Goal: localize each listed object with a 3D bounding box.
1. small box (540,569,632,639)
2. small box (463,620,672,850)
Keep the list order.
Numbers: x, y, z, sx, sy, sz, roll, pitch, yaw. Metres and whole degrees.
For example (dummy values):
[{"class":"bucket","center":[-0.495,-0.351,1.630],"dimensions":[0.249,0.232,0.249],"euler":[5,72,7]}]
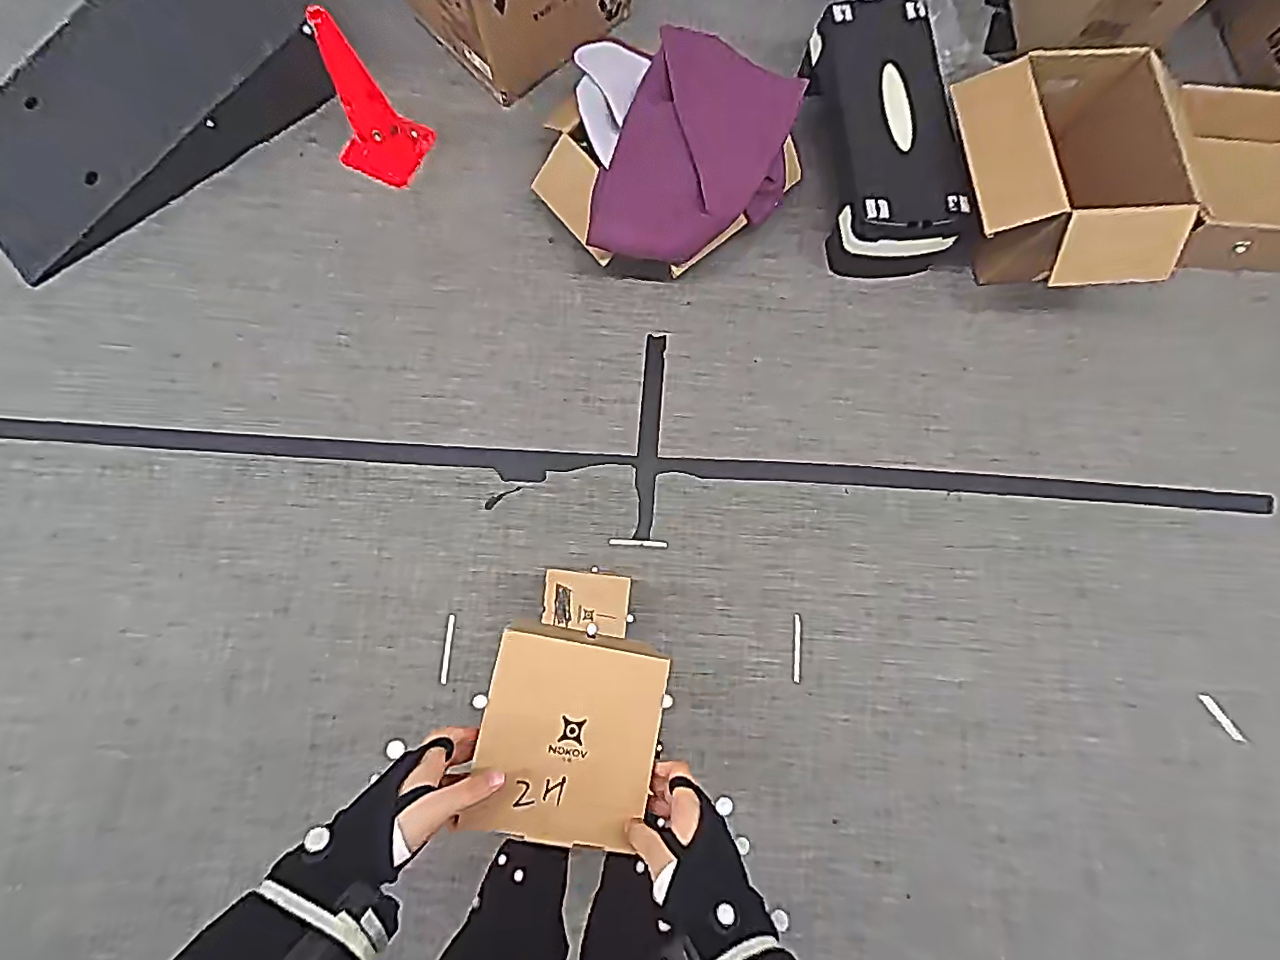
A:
[{"class":"small box","center":[-0.115,0.286,1.168],"dimensions":[0.179,0.176,0.168],"euler":[7,79,-2]},{"class":"small box","center":[-0.075,0.255,0.585],"dimensions":[0.168,0.176,0.179],"euler":[13,78,-6]}]
